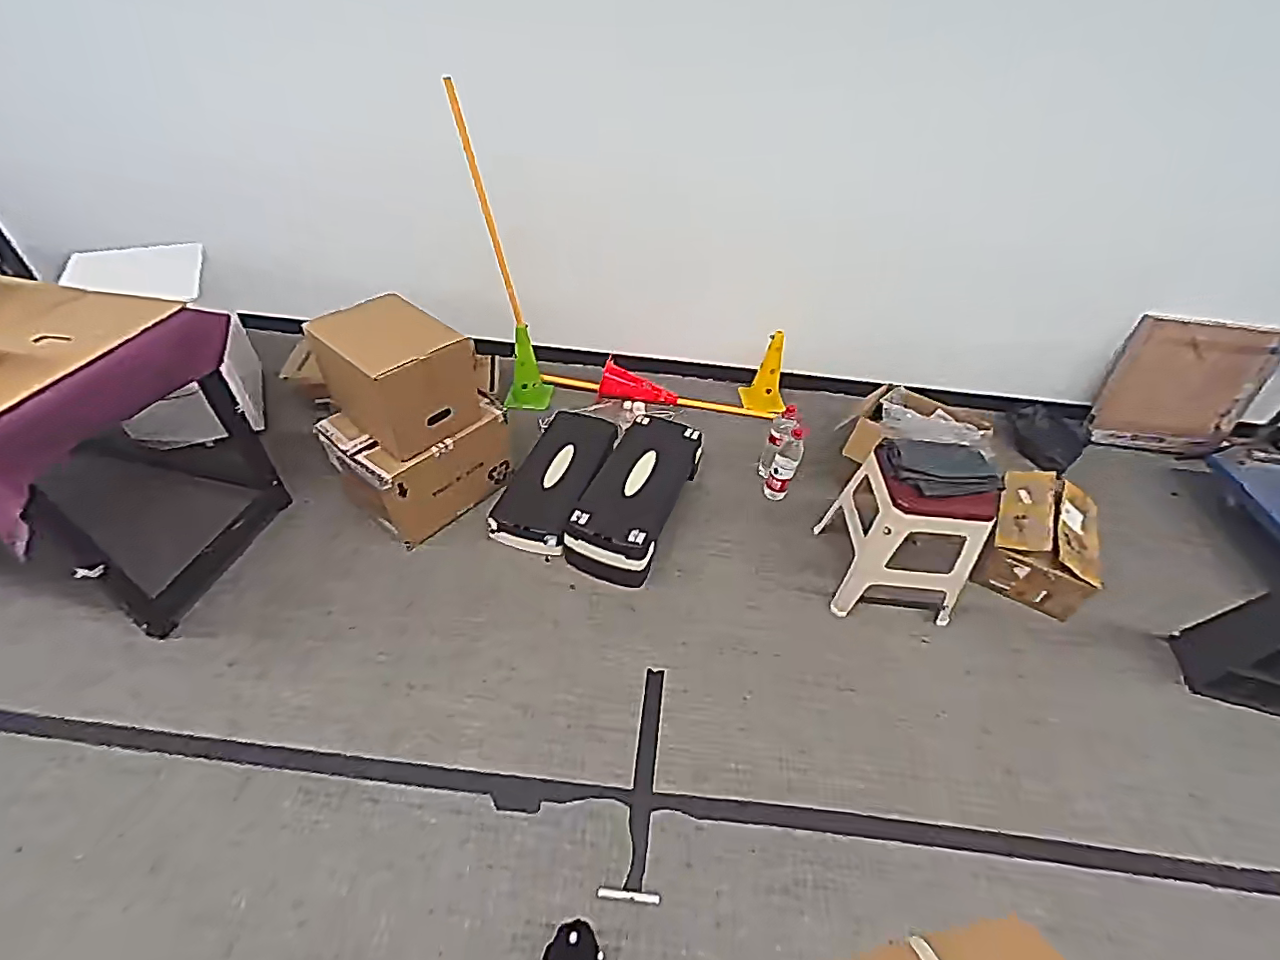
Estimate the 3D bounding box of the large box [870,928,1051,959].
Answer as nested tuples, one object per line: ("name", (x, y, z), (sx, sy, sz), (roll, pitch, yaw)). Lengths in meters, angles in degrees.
("large box", (0.435, 0.798, 0.563), (0.320, 0.408, 0.320), (-11, 84, -3))
